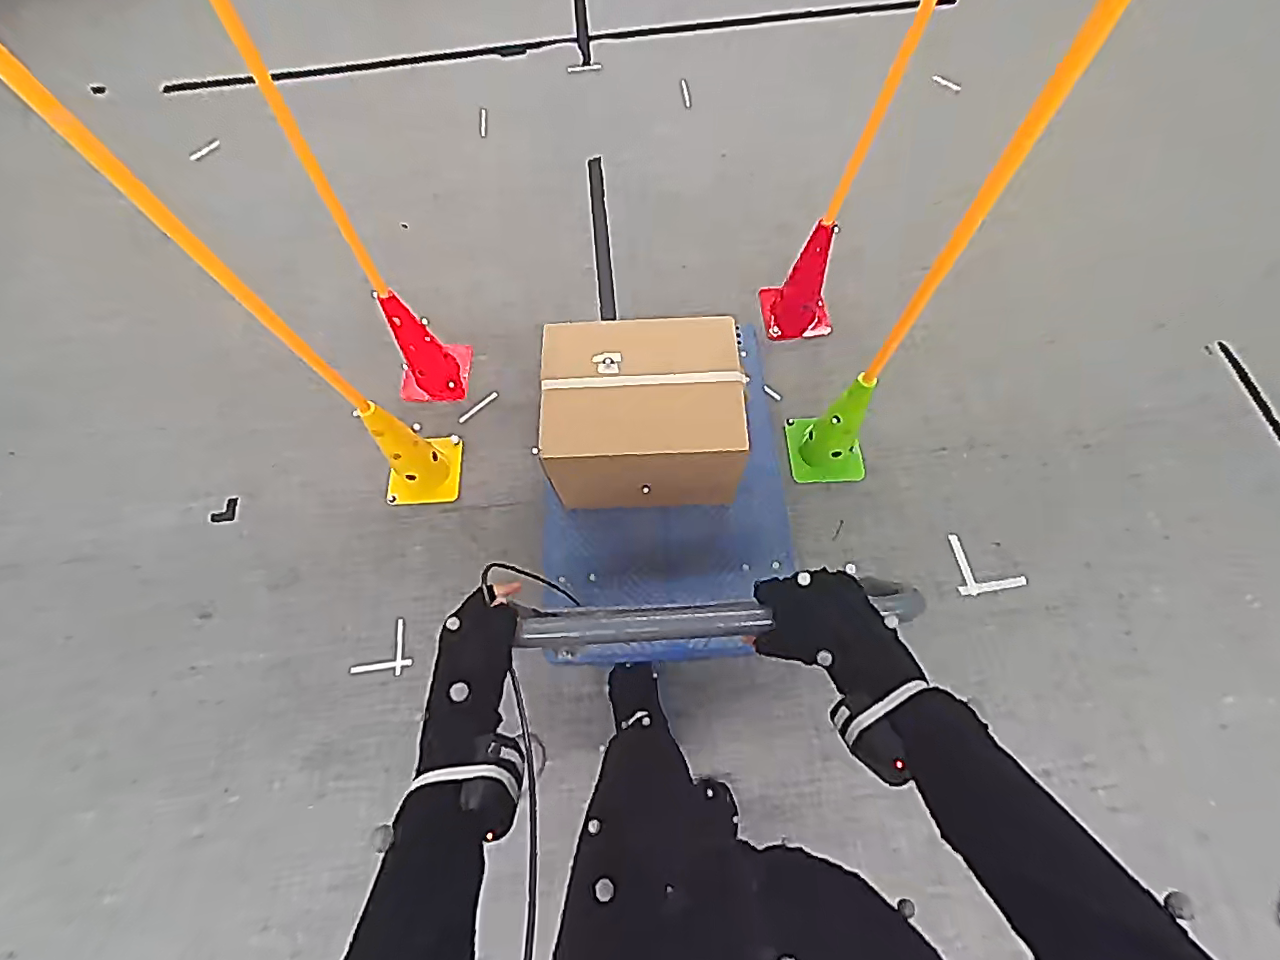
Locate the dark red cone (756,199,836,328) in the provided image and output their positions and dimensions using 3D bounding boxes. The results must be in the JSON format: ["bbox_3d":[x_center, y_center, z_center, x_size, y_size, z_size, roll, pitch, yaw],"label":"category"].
[{"bbox_3d":[0.476,-0.620,1.542,0.201,0.394,0.202,-6,68,-2],"label":"dark red cone"}]

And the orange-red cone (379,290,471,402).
[{"bbox_3d":[-0.635,-0.397,1.519,0.198,0.360,0.199,0,67,1],"label":"orange-red cone"}]

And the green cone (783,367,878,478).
[{"bbox_3d":[0.512,-0.166,1.376,0.202,0.368,0.200,-3,68,0],"label":"green cone"}]

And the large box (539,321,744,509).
[{"bbox_3d":[0.004,-0.130,1.228,0.408,0.320,0.320,-3,68,2],"label":"large box"}]
